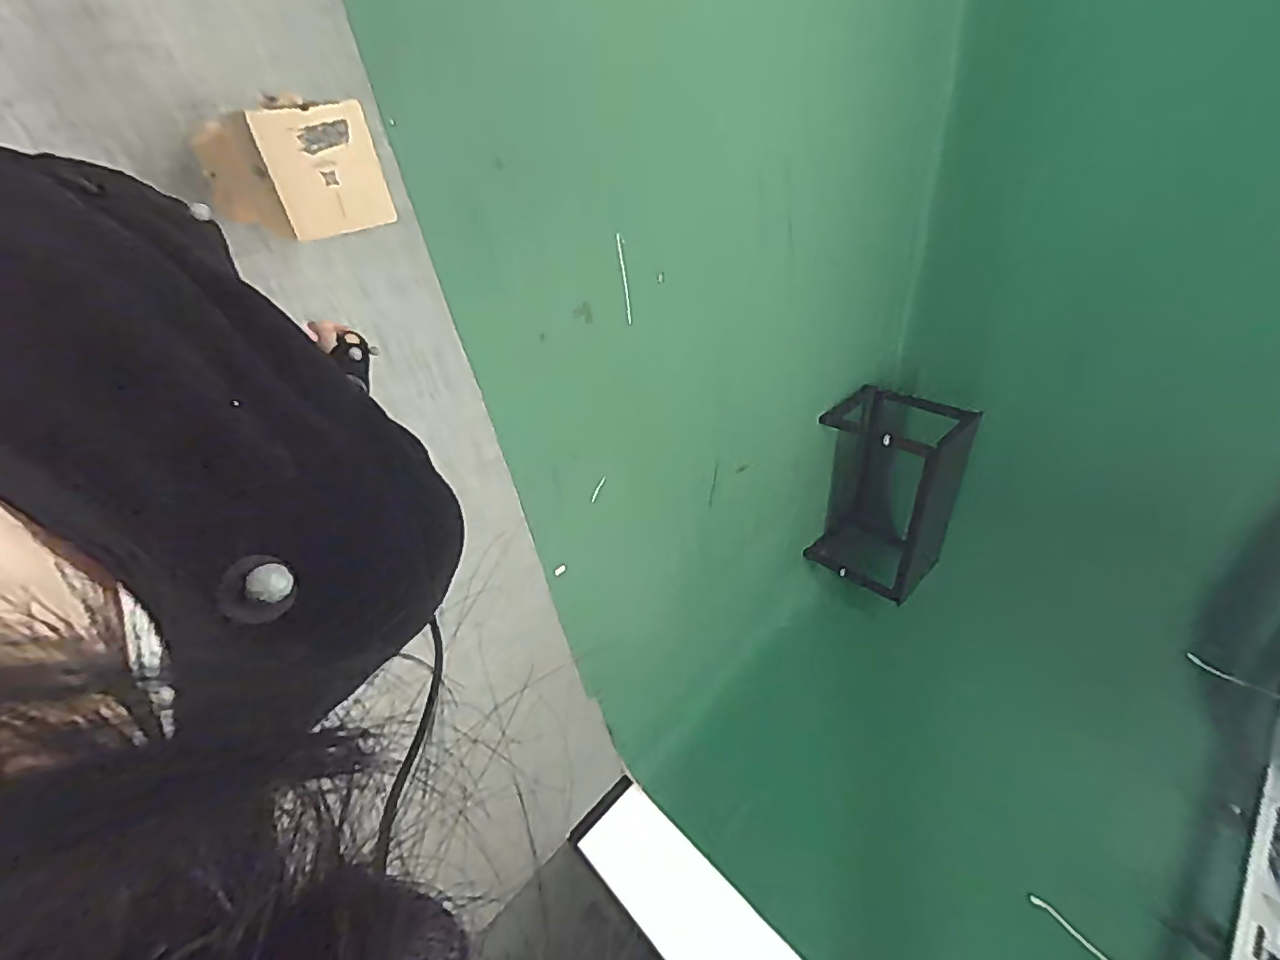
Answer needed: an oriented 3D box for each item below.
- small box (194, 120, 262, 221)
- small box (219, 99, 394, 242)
[{"bbox_3d":[-0.768,-0.620,1.094,0.179,0.176,0.168,-25,129,-37],"label":"small box"},{"bbox_3d":[-0.543,-0.505,0.883,0.168,0.176,0.179,-33,134,-32],"label":"small box"}]
